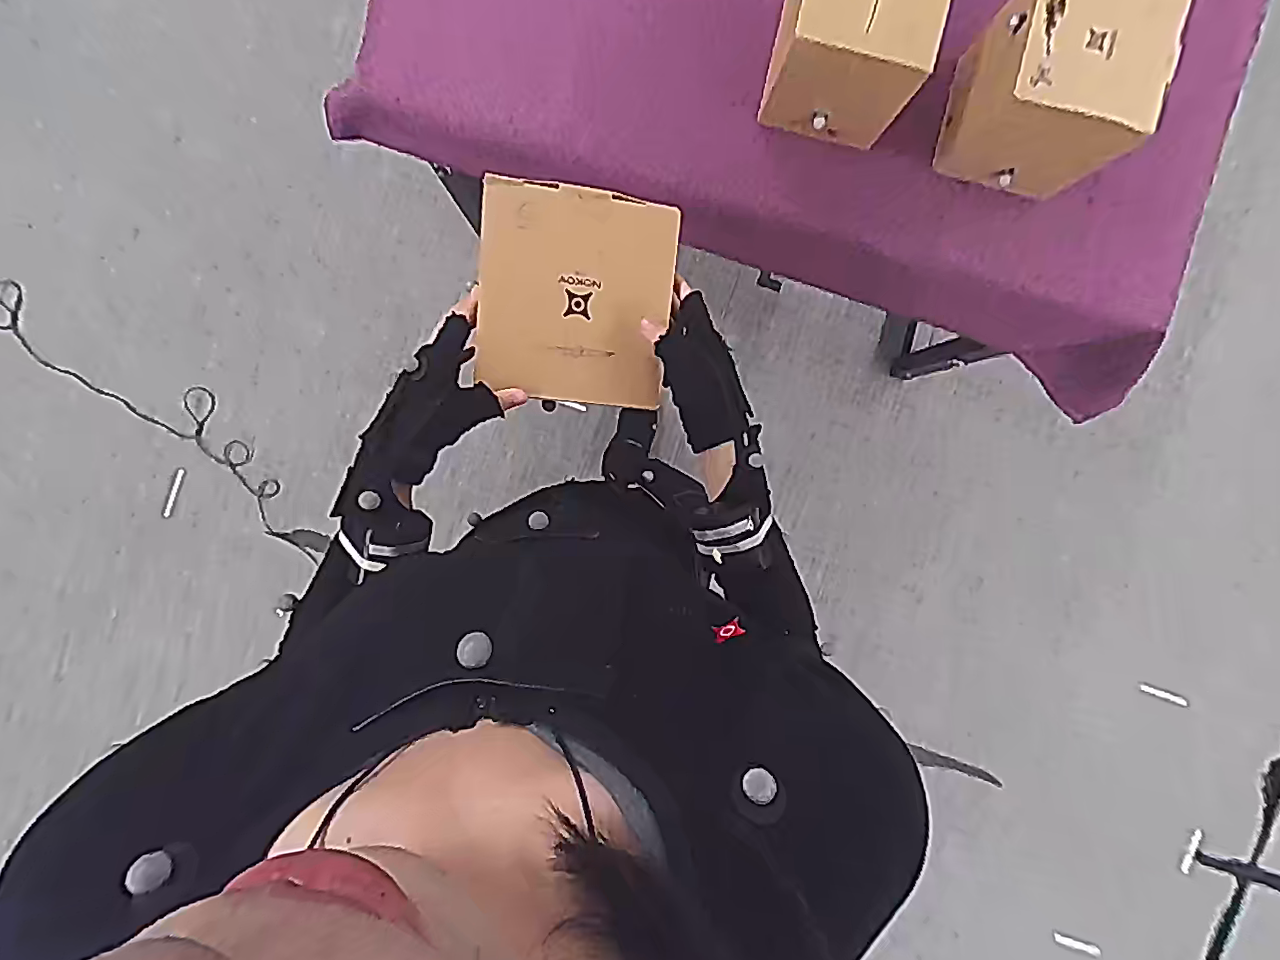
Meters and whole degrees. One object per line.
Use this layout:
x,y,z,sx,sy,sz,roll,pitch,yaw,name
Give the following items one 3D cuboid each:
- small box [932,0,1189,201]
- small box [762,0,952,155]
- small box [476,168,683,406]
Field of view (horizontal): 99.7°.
0.521,-0.490,0.695,0.179,0.176,0.168,14,92,-3,small box
0.267,-0.559,0.683,0.168,0.176,0.179,13,93,-2,small box
-0.066,-0.171,0.531,0.168,0.176,0.179,3,101,-12,small box
